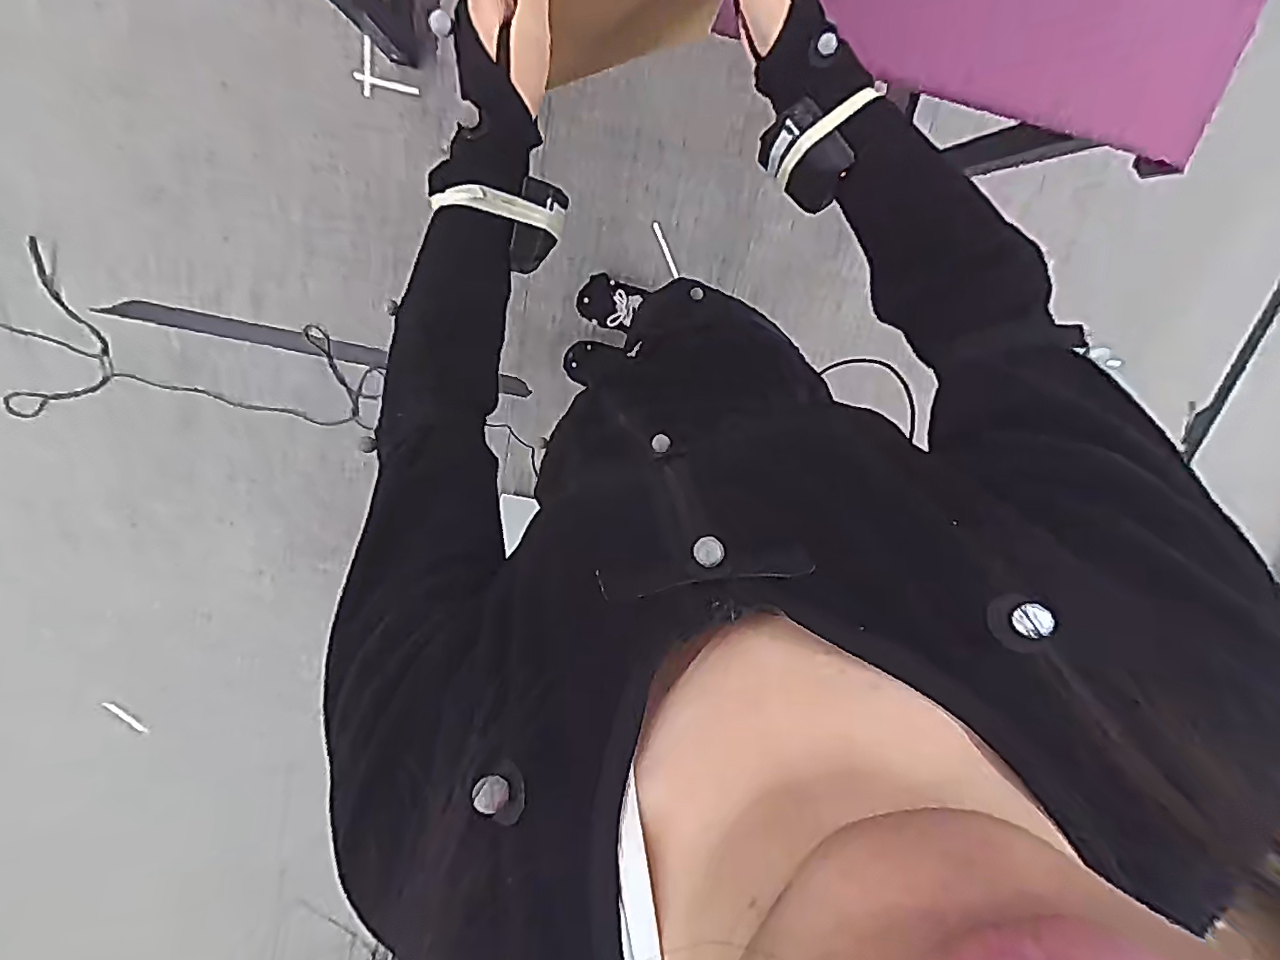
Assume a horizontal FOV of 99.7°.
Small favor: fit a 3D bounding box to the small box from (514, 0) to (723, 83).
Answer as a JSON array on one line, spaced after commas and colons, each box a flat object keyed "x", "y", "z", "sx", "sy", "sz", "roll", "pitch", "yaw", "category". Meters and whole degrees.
[{"x": -0.024, "y": -0.443, "z": 0.402, "sx": 0.179, "sy": 0.176, "sz": 0.168, "roll": -19, "pitch": 105, "yaw": -1, "category": "small box"}]

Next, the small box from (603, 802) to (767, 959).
[{"x": 0.045, "y": 0.565, "z": 0.711, "sx": 0.168, "sy": 0.176, "sz": 0.179, "roll": 9, "pitch": 111, "yaw": -9, "category": "small box"}]
